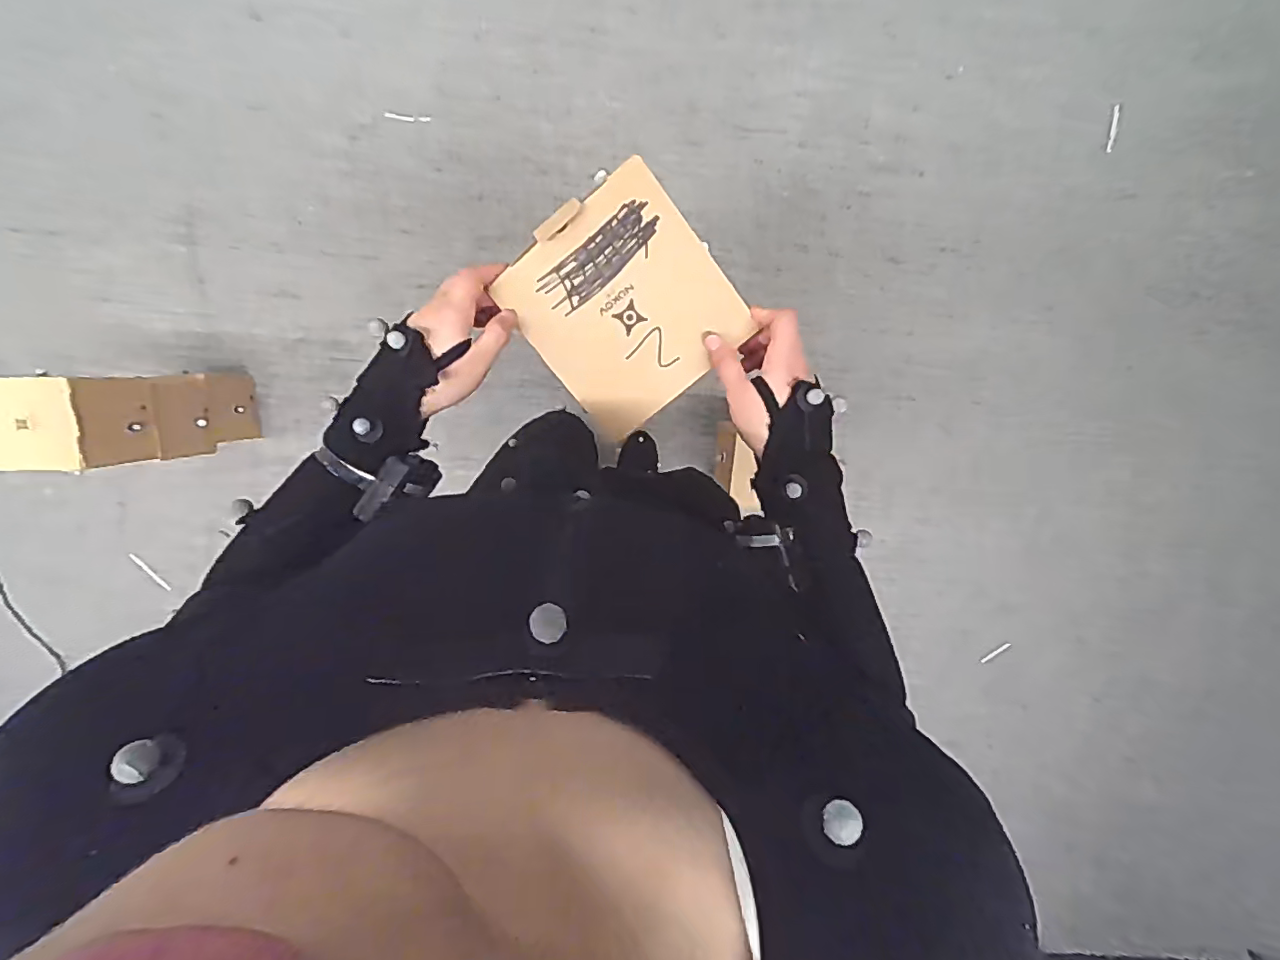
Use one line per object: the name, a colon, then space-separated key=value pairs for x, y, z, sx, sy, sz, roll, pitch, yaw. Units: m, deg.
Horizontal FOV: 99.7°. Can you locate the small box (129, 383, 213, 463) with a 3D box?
small box: x=-1.089 y=-0.128 z=1.181 sx=0.179 sy=0.176 sz=0.168 roll=0 pitch=100 yaw=-2

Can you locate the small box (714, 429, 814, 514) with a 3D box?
small box: x=0.274 y=-0.025 z=1.231 sx=0.179 sy=0.176 sz=0.168 roll=5 pitch=98 yaw=-1

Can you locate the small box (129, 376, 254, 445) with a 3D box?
small box: x=-1.096 y=-0.171 z=1.340 sx=0.179 sy=0.176 sz=0.168 roll=-4 pitch=99 yaw=0

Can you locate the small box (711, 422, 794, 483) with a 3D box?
small box: x=0.281 y=-0.056 z=1.391 sx=0.168 sy=0.176 sz=0.179 roll=5 pitch=99 yaw=-2

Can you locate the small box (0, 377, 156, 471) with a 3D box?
small box: x=-1.081 y=-0.108 z=1.020 sx=0.179 sy=0.176 sz=0.168 roll=-1 pitch=99 yaw=-2
